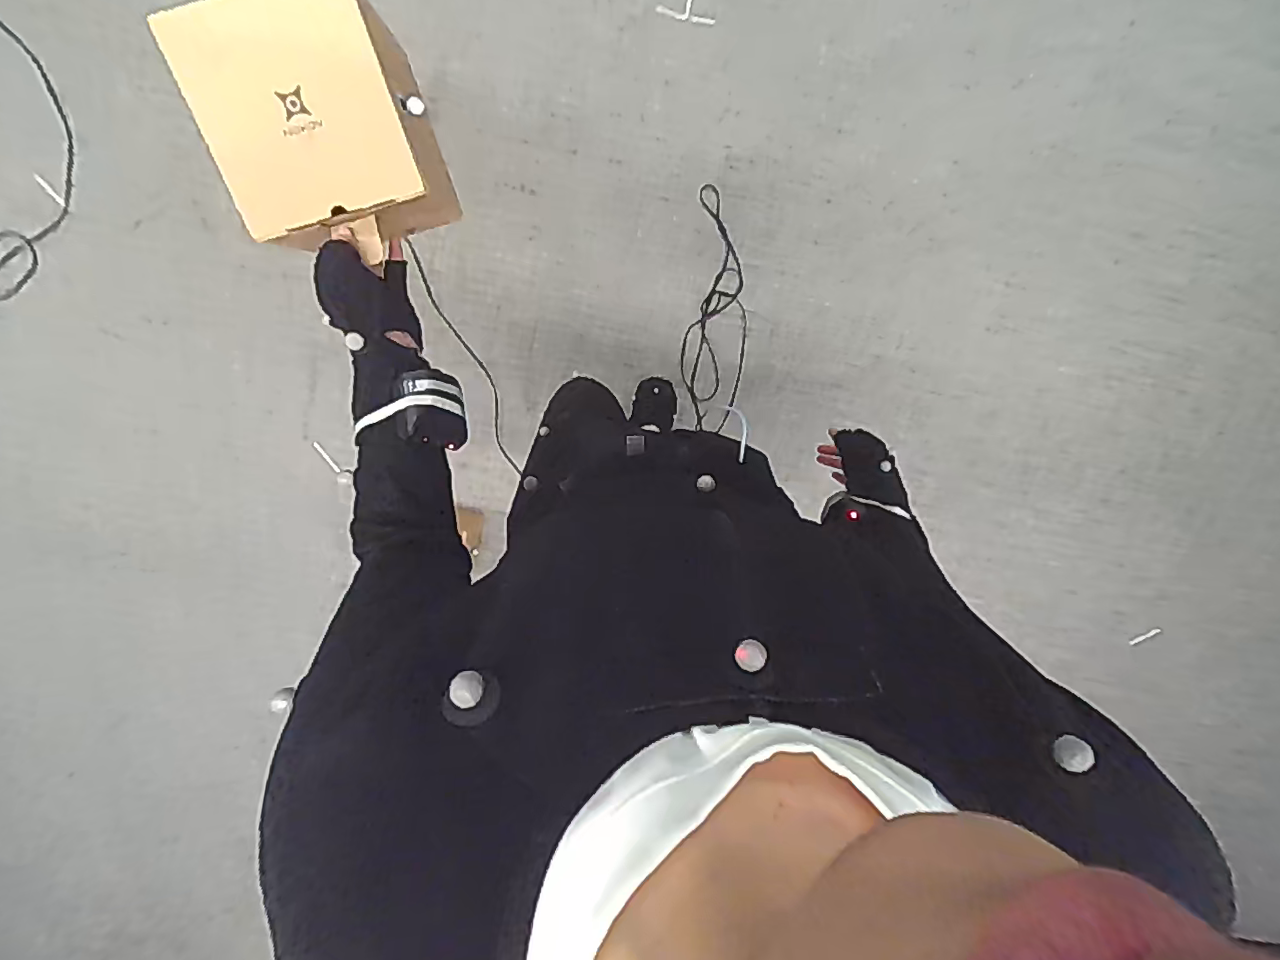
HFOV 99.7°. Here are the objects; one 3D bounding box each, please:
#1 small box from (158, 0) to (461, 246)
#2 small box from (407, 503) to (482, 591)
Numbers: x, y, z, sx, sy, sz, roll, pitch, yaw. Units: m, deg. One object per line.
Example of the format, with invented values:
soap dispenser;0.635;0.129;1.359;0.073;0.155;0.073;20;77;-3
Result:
small box;-0.299;-0.350;0.539;0.168;0.176;0.179;-17;111;-1
small box;-0.524;0.168;1.407;0.179;0.176;0.168;13;101;-4
